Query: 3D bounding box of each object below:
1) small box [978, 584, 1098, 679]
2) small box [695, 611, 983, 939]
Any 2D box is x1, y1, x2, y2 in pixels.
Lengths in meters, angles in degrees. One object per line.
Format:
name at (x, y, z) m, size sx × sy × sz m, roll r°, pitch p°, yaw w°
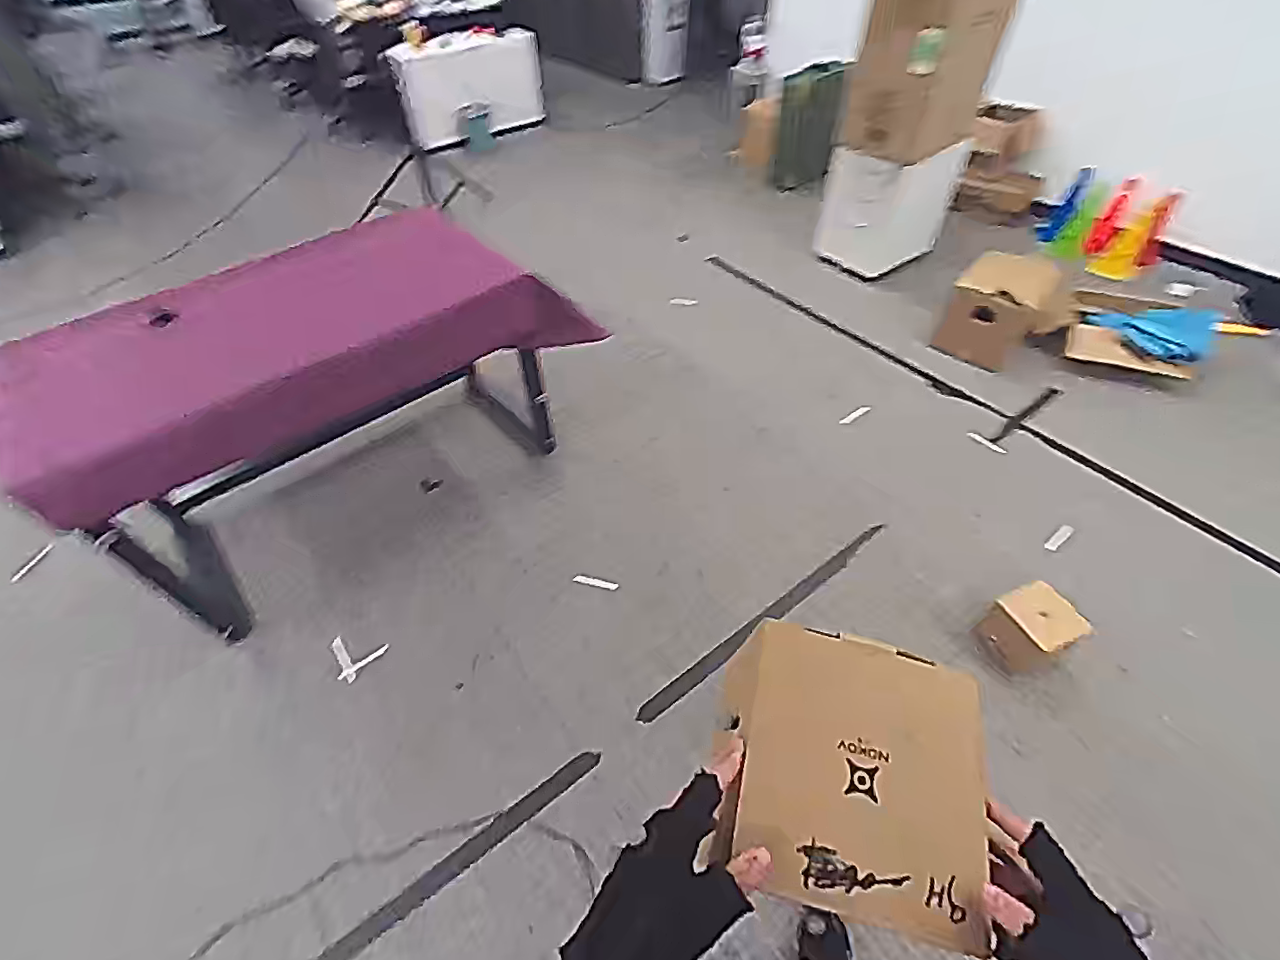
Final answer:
small box at (1.095, 0.424, 1.504) m, size 0.179 × 0.176 × 0.168 m, roll -18°, pitch 50°, yaw -13°
small box at (0.147, 0.235, 0.450) m, size 0.168 × 0.176 × 0.179 m, roll 13°, pitch 59°, yaw 5°
